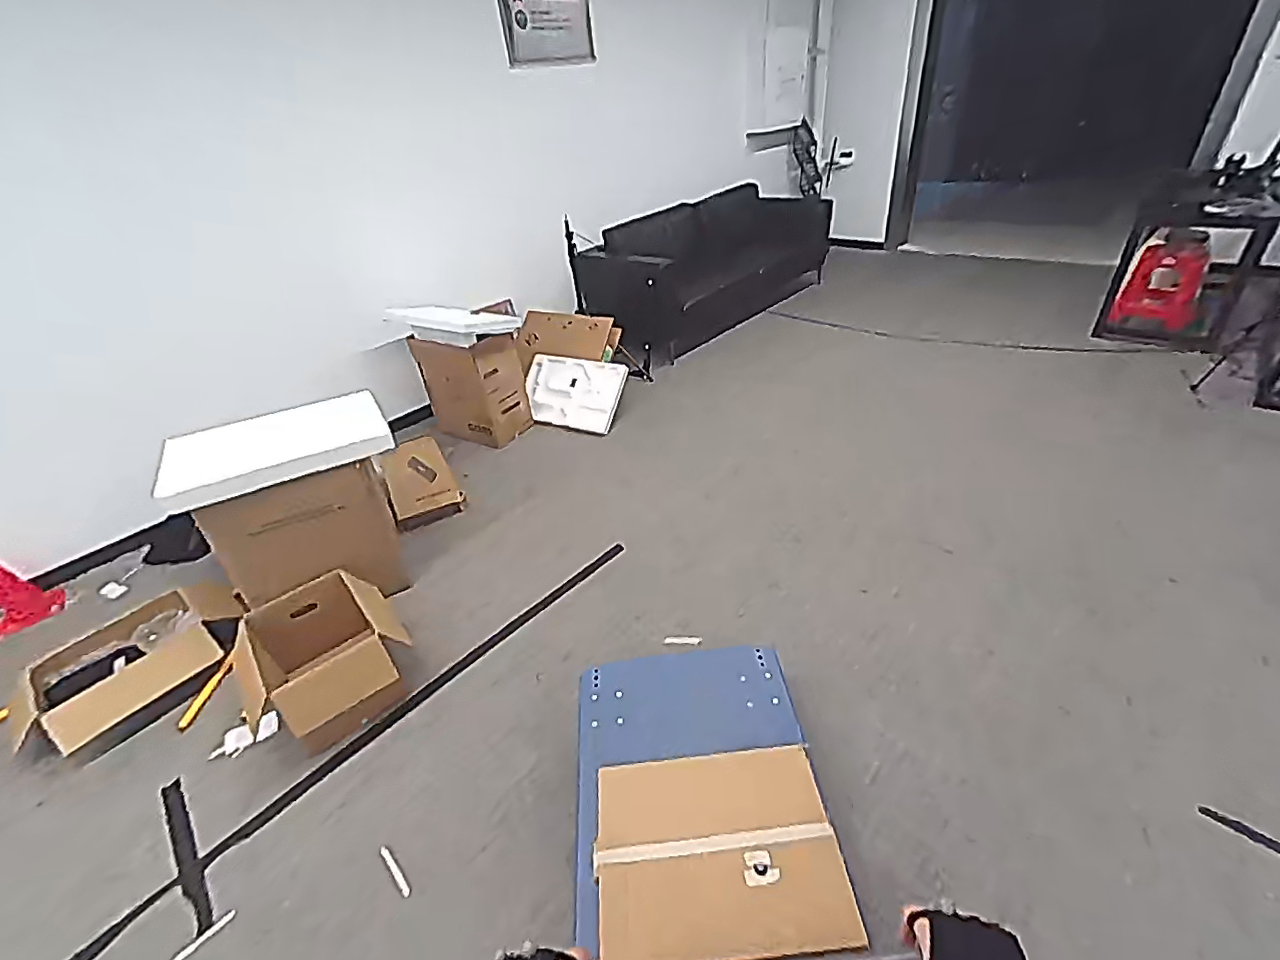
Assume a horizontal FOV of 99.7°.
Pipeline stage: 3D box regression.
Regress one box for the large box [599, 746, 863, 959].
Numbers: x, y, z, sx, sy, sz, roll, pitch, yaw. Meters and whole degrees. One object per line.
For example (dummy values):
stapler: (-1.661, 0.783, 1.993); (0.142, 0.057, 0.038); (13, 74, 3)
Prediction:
large box: (0.140, 0.752, 1.011); (0.408, 0.320, 0.320); (-6, 35, -1)
